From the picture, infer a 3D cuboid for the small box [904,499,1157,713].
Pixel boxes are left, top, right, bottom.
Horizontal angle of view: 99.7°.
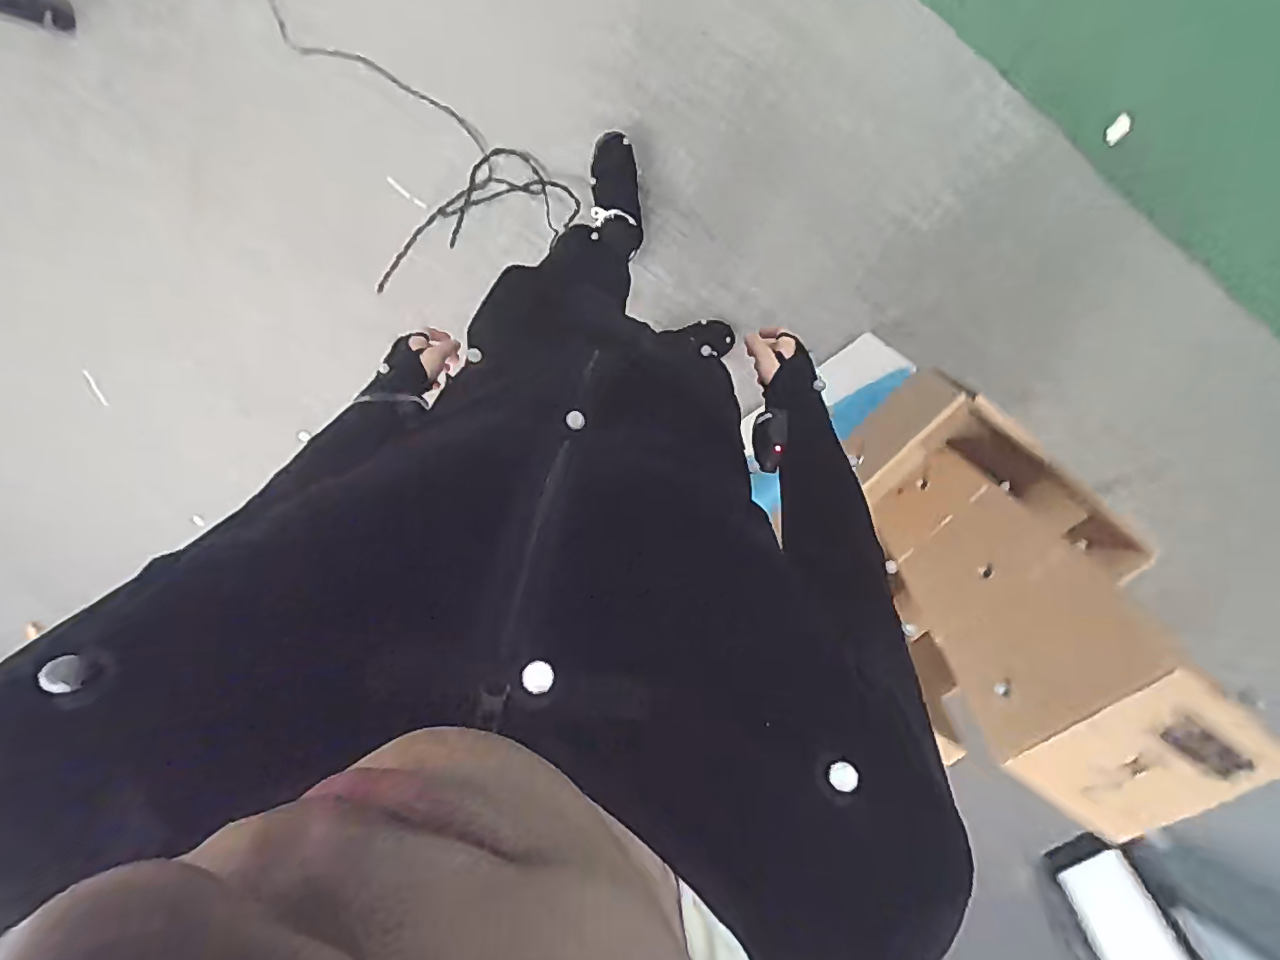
[{"bbox_3d":[0.485,0.155,0.707,0.168,0.176,0.179,35,116,-8],"label":"small box"}]
